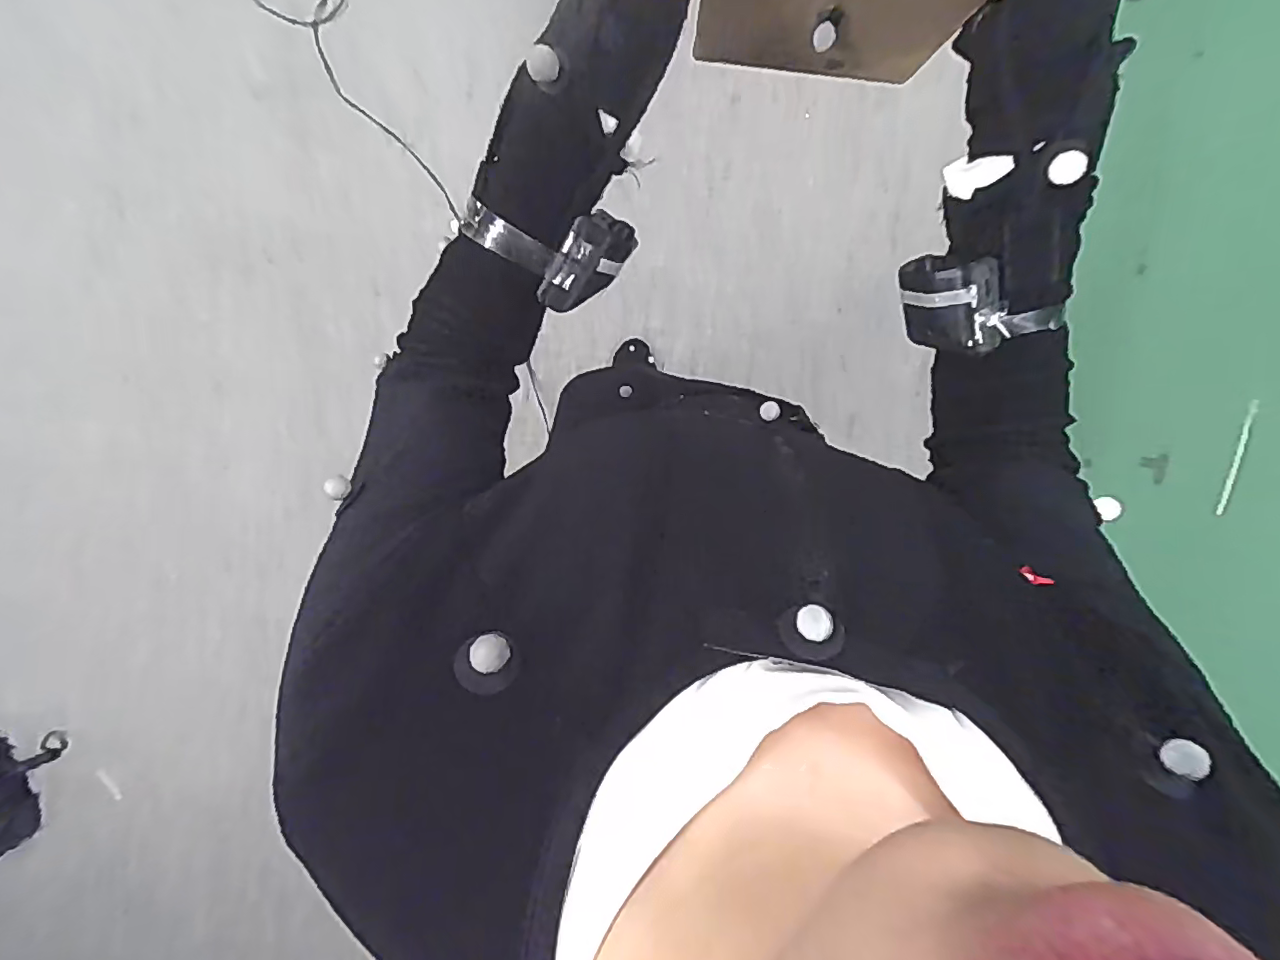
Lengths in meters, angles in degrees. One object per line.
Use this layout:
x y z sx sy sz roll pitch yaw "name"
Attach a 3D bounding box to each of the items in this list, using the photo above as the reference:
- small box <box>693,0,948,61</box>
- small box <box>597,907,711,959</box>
0.122 -0.380 0.310 0.168 0.176 0.179 7 107 1 "small box"
0.017 0.820 0.846 0.179 0.176 0.168 10 95 0 "small box"
